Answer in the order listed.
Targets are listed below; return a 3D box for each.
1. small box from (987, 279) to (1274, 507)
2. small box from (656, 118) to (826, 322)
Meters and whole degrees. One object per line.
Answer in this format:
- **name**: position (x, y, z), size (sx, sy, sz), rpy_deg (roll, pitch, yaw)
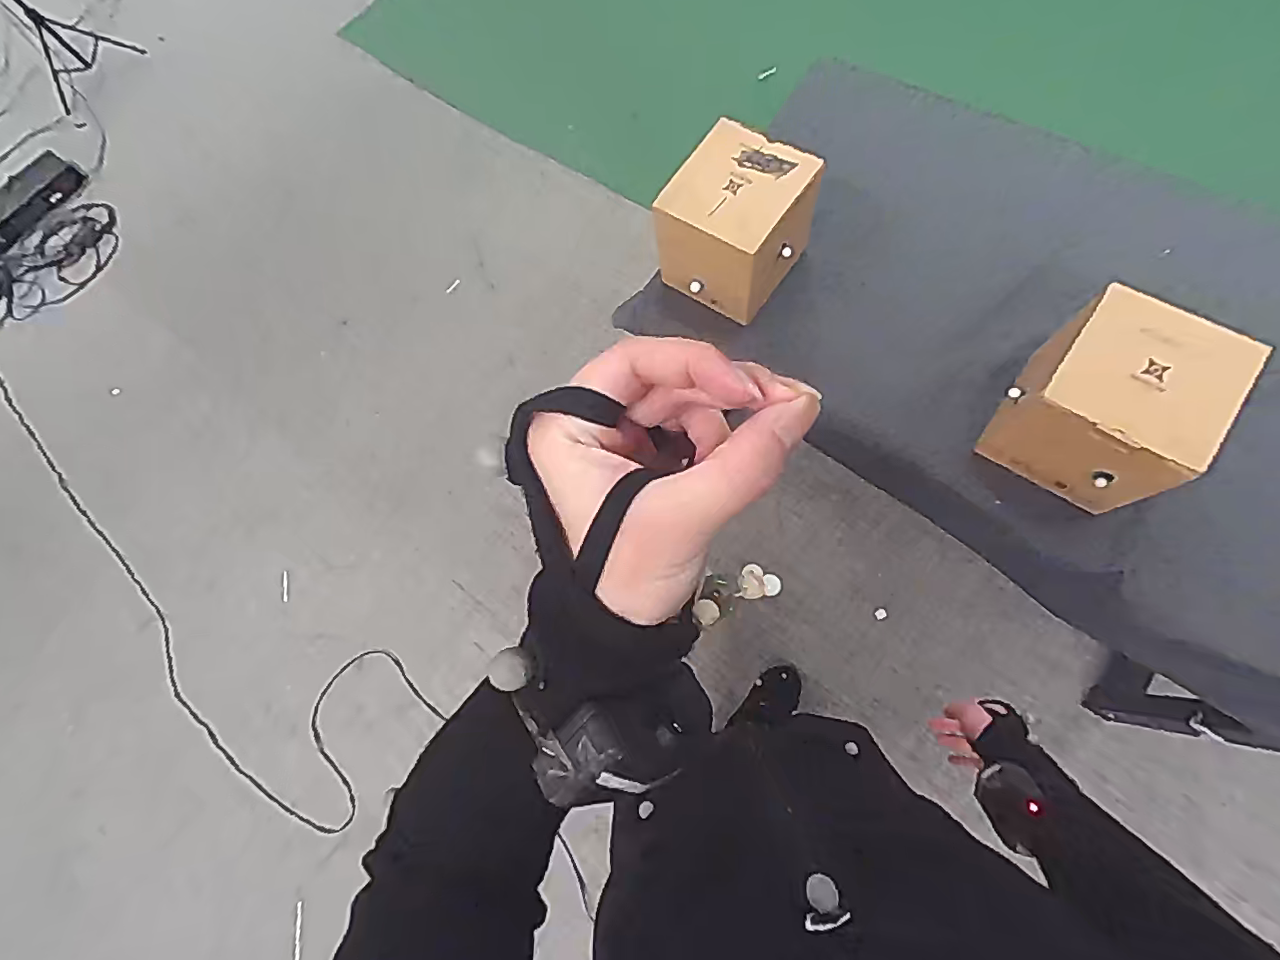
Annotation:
- **small box**: position (0.557, -0.092, 0.646), size (0.168, 0.176, 0.179), rpy_deg (34, 79, 16)
- **small box**: position (0.143, -0.373, 0.796), size (0.168, 0.176, 0.179), rpy_deg (34, 81, 17)
